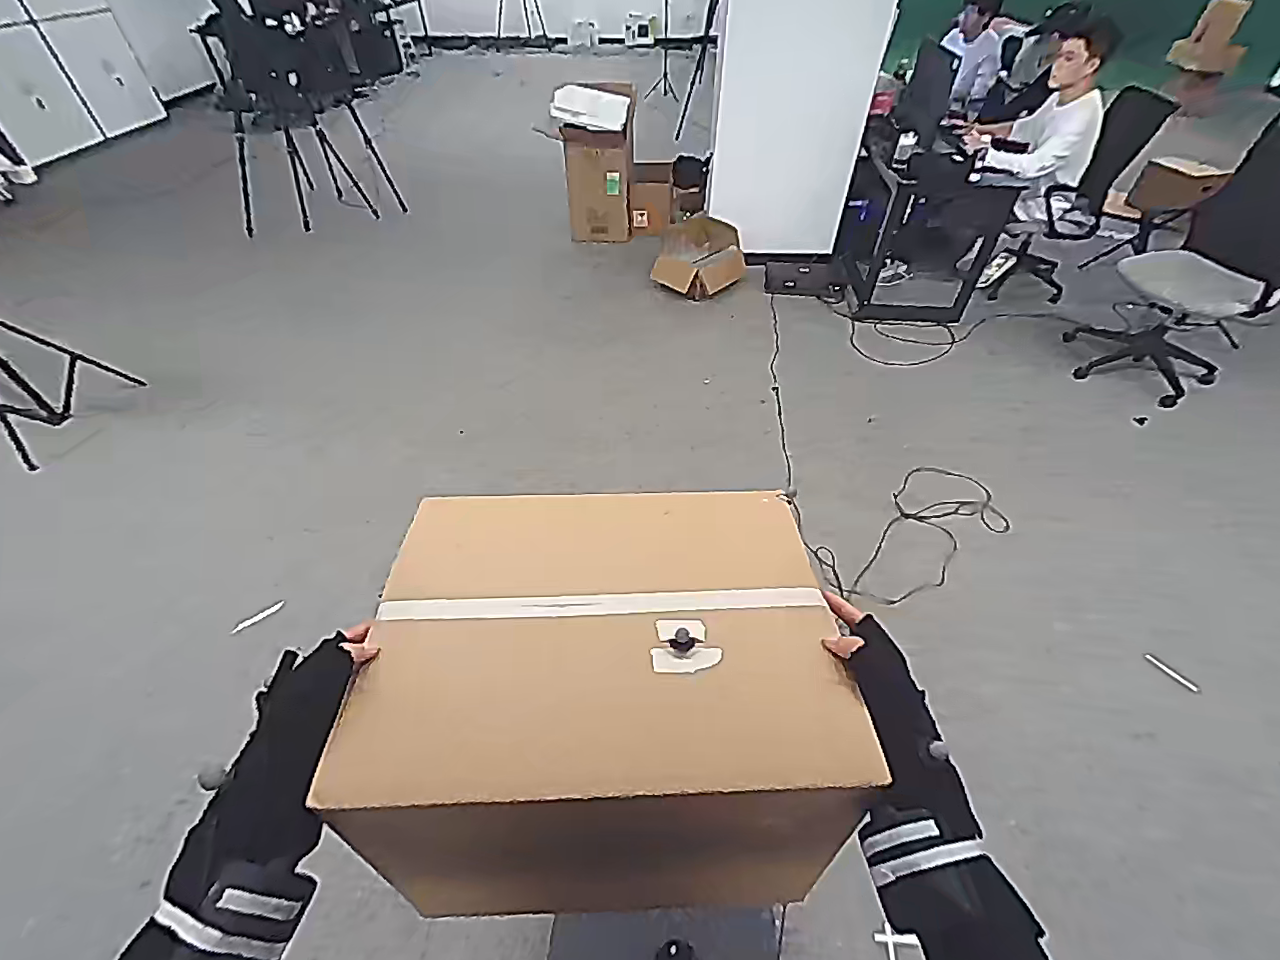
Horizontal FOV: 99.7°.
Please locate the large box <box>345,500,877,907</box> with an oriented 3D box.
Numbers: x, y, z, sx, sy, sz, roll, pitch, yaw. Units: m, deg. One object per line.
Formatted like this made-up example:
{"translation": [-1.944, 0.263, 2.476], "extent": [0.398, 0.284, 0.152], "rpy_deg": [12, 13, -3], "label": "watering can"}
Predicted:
{"translation": [-0.027, 0.239, 0.604], "extent": [0.408, 0.320, 0.320], "rpy_deg": [-1, 40, -2], "label": "large box"}
